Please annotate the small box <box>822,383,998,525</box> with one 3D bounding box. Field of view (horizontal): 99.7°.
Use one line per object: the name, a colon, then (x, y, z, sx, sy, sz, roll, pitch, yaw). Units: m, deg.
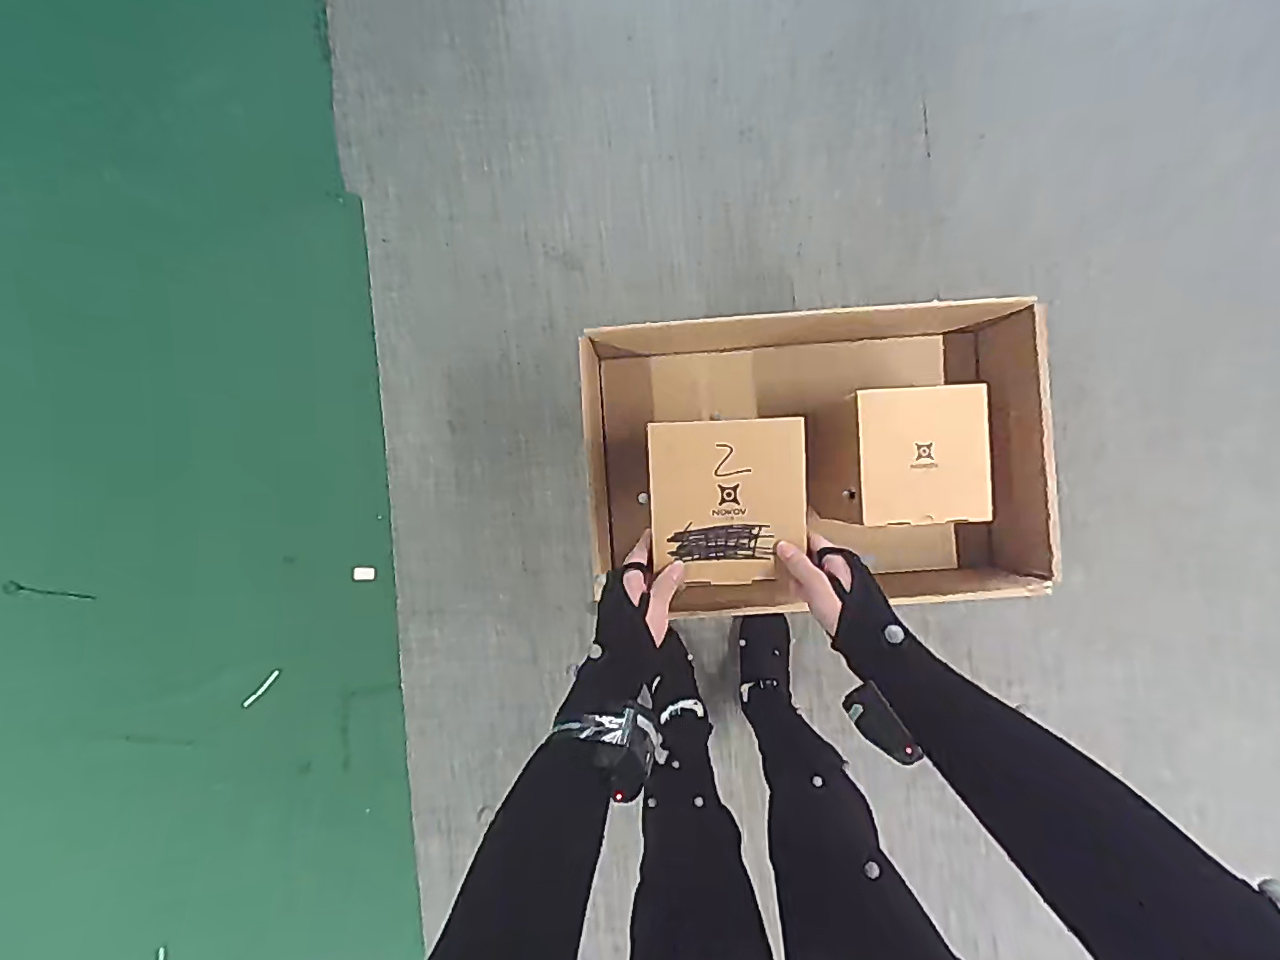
small box: (0.364, -0.032, 0.757, 0.168, 0.176, 0.179, -3, 91, 0)
